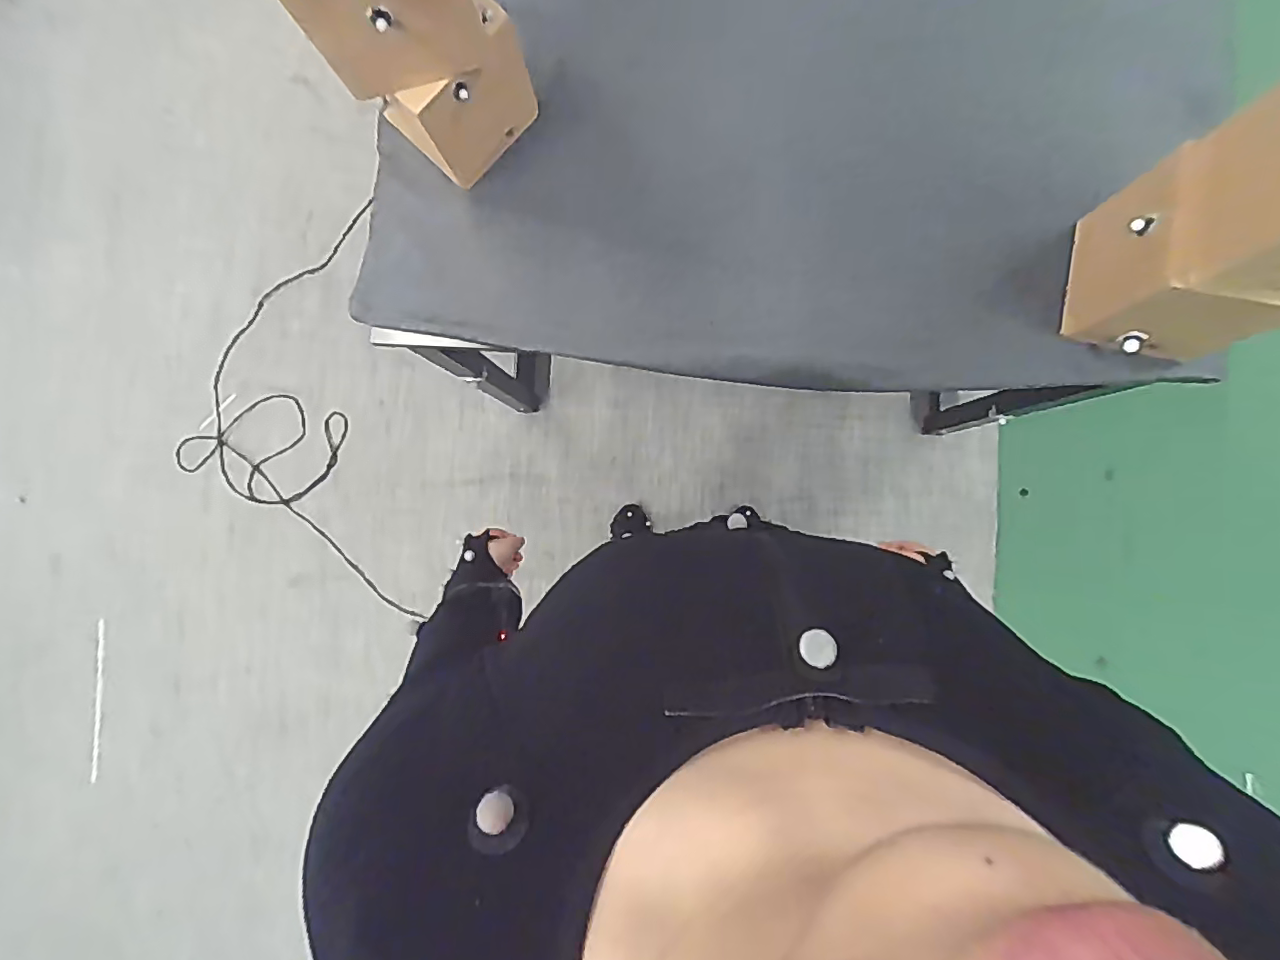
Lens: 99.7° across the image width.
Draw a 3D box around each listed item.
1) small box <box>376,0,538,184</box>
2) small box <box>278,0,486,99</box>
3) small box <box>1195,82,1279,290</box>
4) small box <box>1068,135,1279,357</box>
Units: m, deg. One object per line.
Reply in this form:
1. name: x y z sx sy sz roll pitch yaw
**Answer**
1. small box: -0.267 -0.550 0.730 0.179 0.176 0.168 44 91 3
2. small box: -0.277 -0.551 0.566 0.179 0.176 0.168 -15 88 3
3. small box: 0.675 -0.285 0.498 0.168 0.176 0.179 10 84 5
4. small box: 0.670 -0.271 0.660 0.168 0.176 0.179 12 86 5
